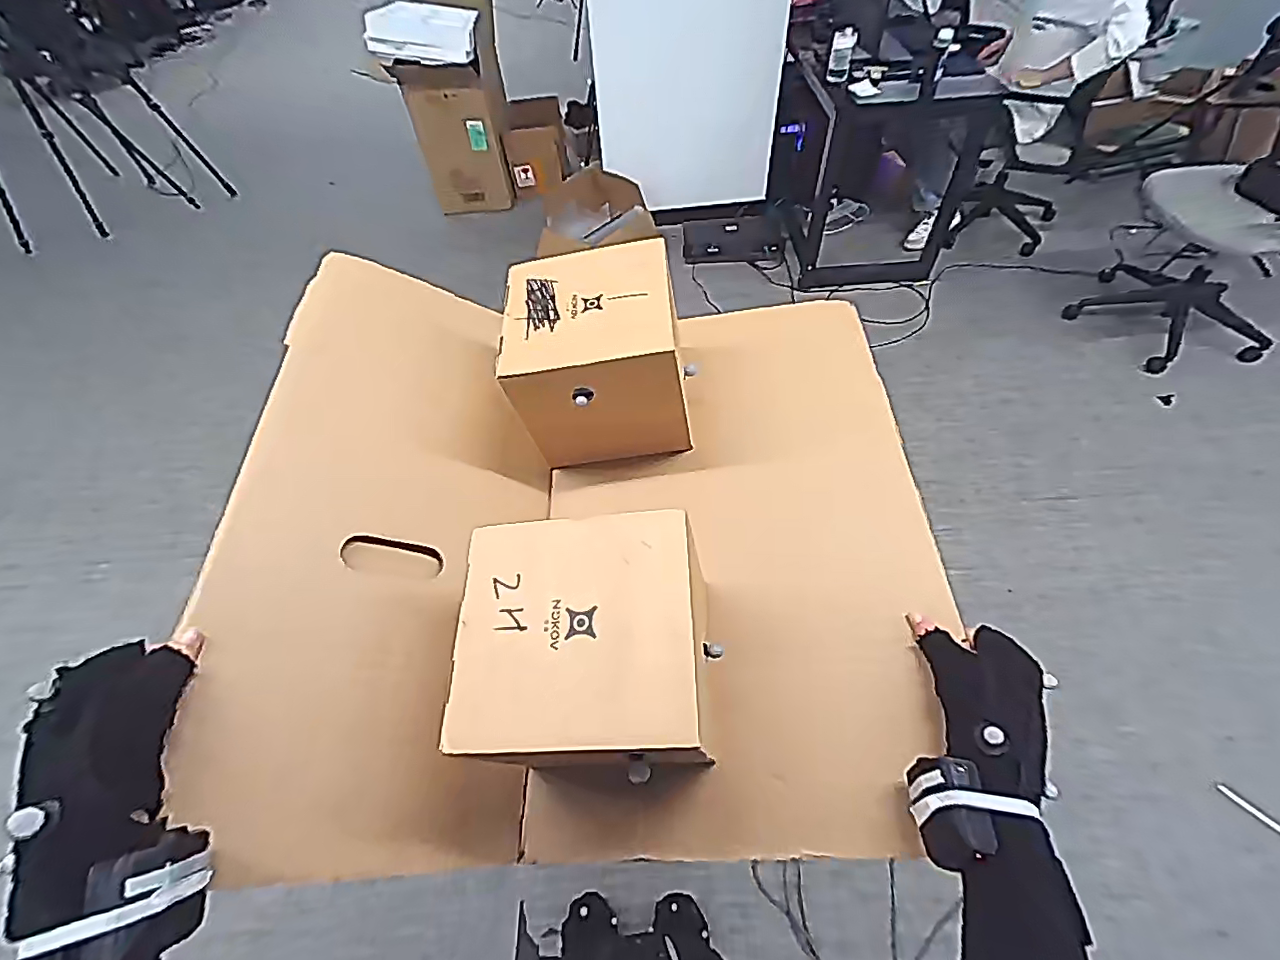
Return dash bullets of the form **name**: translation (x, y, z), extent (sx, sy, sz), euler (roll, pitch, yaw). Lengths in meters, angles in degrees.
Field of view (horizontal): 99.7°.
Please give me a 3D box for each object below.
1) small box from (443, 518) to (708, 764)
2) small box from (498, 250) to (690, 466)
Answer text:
- **small box**: translation (-0.035, 0.145, 0.462), extent (0.179, 0.176, 0.168), euler (-5, 59, 10)
- **small box**: translation (-0.042, -0.130, 0.626), extent (0.179, 0.176, 0.168), euler (-7, 59, 7)
